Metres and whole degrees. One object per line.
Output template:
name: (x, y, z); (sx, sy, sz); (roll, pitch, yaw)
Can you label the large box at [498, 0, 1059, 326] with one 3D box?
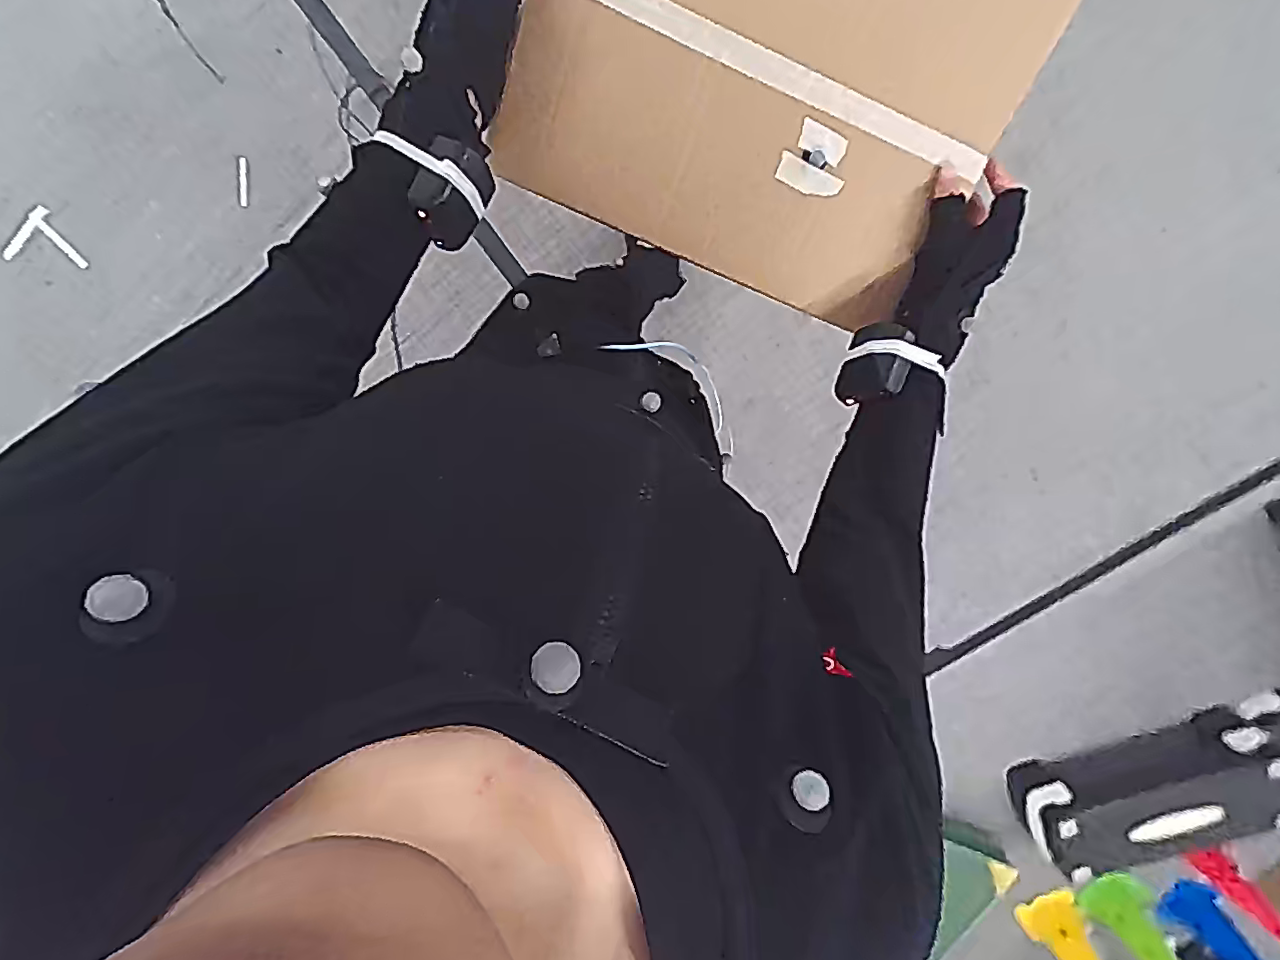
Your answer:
large box: (0.109, -0.408, 0.590); (0.408, 0.320, 0.320); (20, 115, -8)
